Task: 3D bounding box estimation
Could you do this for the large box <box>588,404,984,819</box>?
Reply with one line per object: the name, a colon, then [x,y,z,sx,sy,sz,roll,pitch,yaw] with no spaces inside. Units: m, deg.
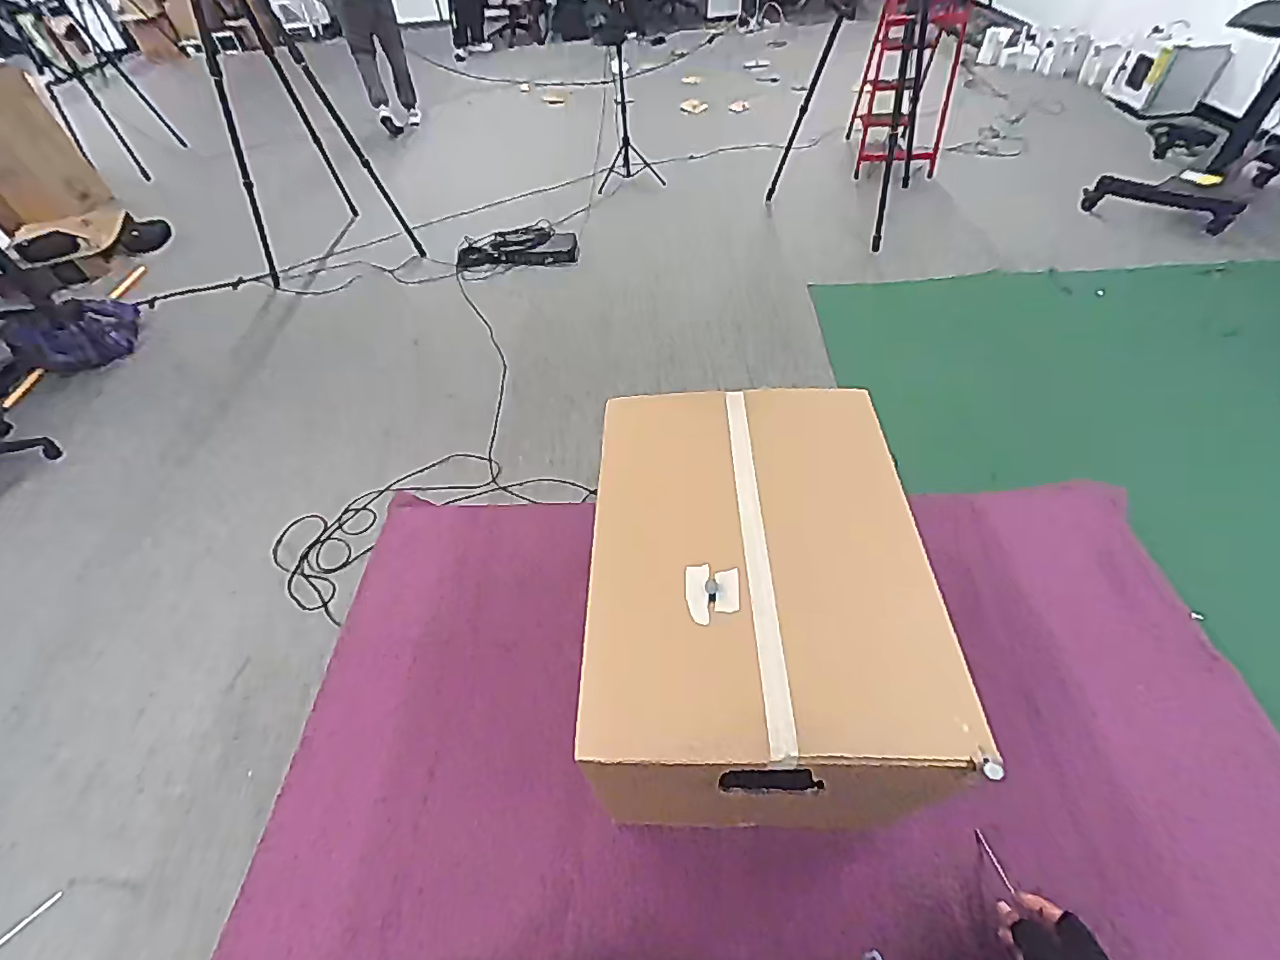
large box: [0.119,0.156,0.656,0.320,0.320,0.408,-1,51,4]
